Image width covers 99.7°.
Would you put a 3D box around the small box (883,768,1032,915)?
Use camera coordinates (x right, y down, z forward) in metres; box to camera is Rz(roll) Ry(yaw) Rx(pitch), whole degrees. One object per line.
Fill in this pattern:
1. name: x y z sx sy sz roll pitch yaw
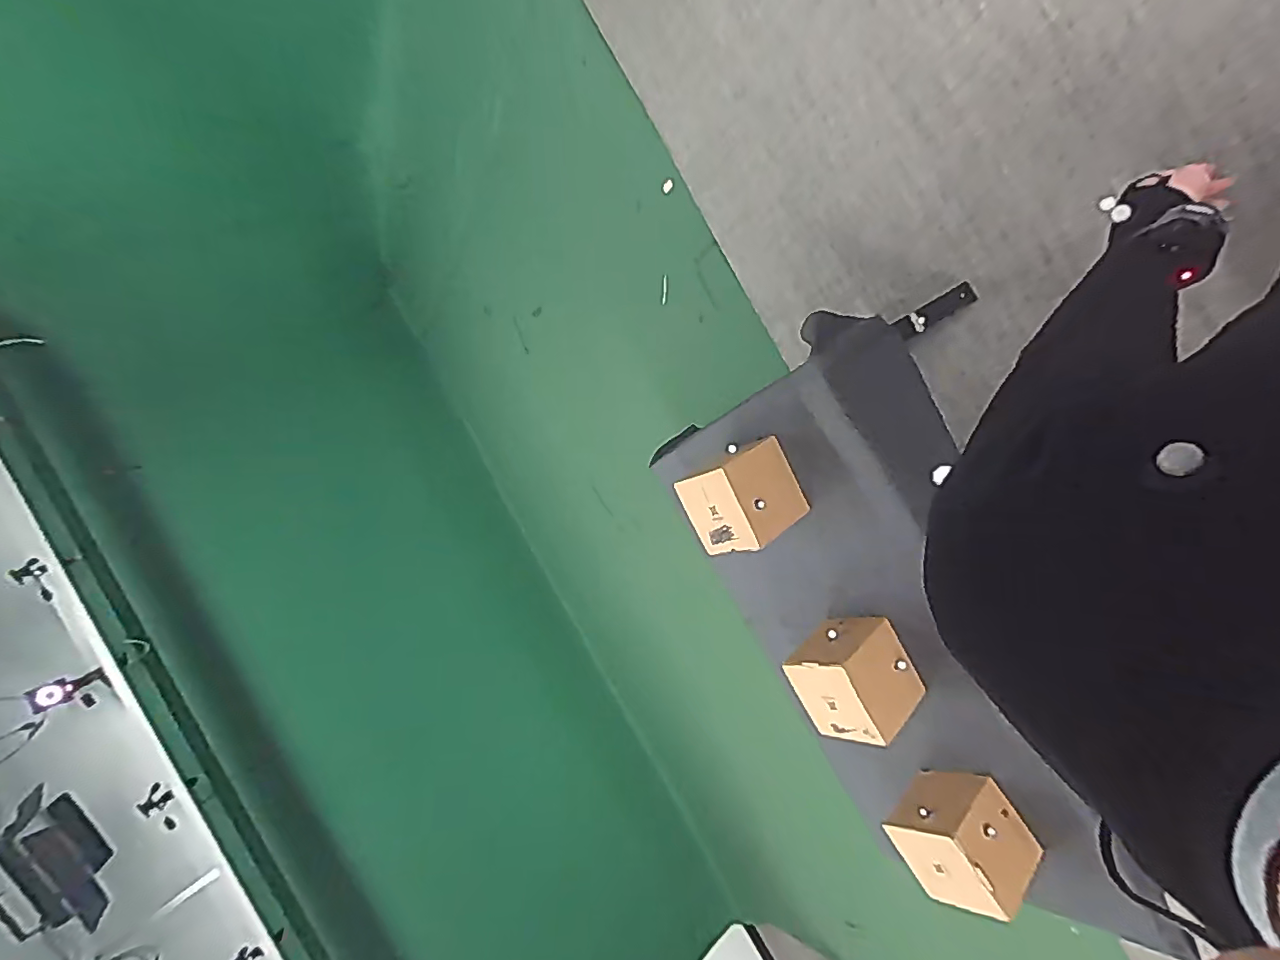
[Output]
1. small box: 0.638 0.705 1.080 0.168 0.176 0.179 57 150 9

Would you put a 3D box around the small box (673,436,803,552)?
1. small box: 0.208 0.030 1.130 0.168 0.176 0.179 -20 98 57

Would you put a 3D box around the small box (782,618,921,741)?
1. small box: 0.435 0.397 1.113 0.179 0.176 0.168 61 148 -1
